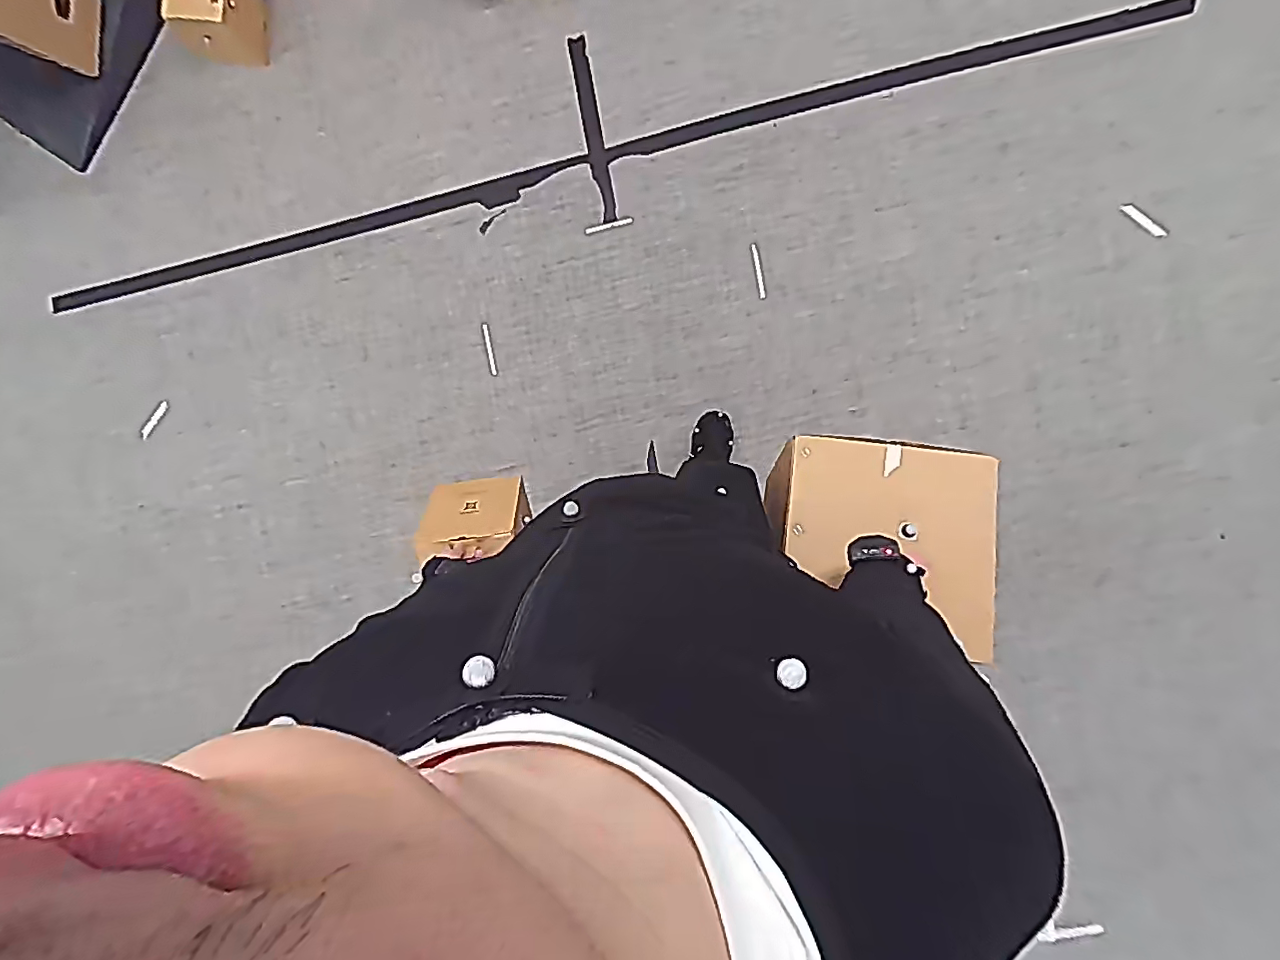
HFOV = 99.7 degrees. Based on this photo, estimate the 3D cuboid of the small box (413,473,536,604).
[{"bbox_3d":[-0.292,0.112,0.998,0.168,0.179,0.176,-7,125,-2],"label":"small box"}]
